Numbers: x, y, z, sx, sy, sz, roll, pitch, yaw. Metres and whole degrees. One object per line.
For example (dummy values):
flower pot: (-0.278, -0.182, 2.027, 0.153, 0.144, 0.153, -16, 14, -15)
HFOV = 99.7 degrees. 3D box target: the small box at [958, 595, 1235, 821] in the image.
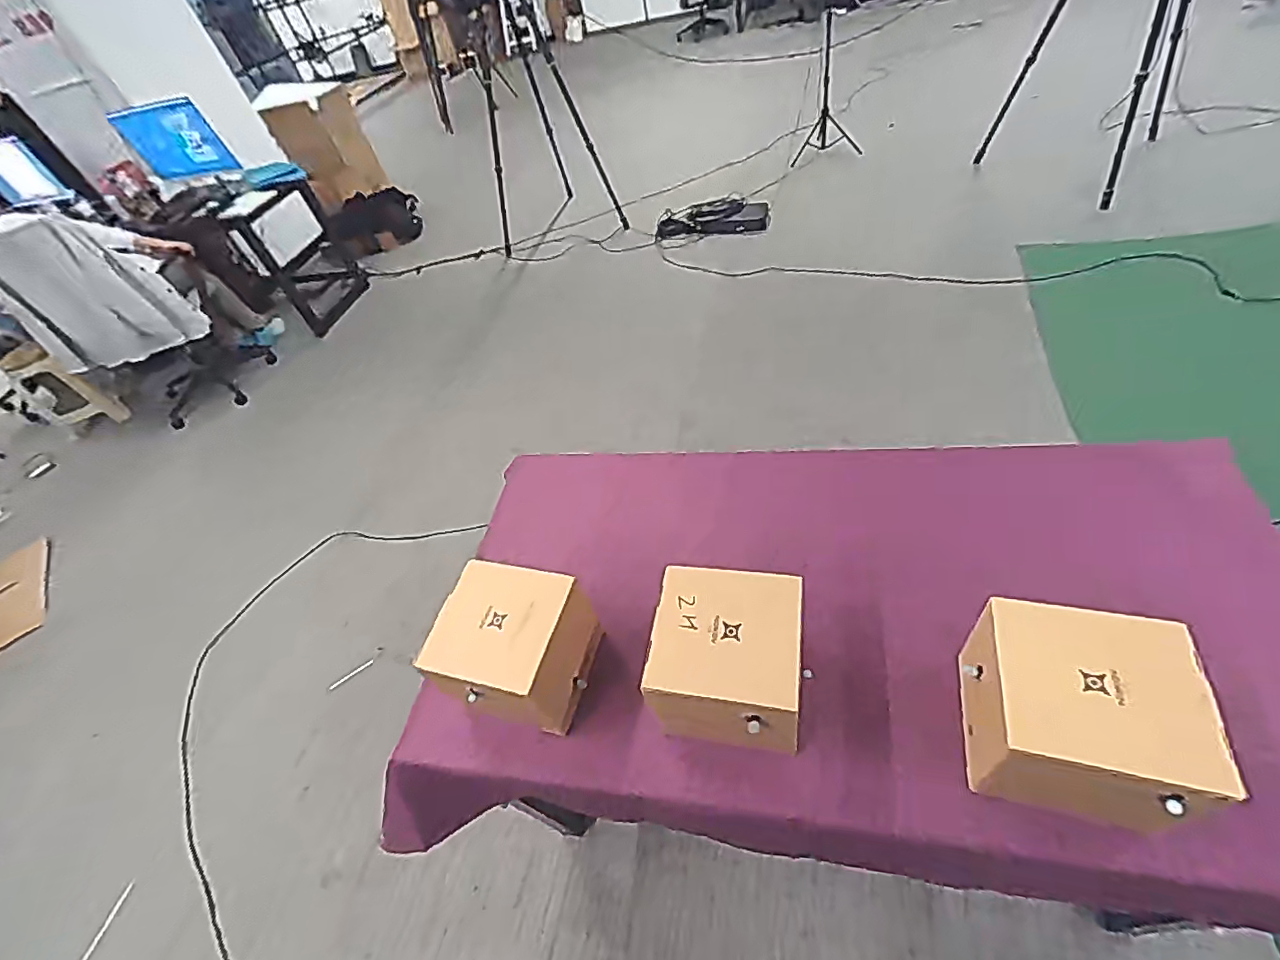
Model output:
small box: (0.462, 0.249, 0.590, 0.179, 0.176, 0.168, 5, 52, 19)

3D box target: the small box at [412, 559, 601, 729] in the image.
small box: (-0.177, 0.236, 0.775, 0.179, 0.176, 0.168, 6, 52, 19)

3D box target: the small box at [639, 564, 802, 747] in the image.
small box: (0.114, 0.229, 0.700, 0.179, 0.176, 0.168, 2, 50, 17)
